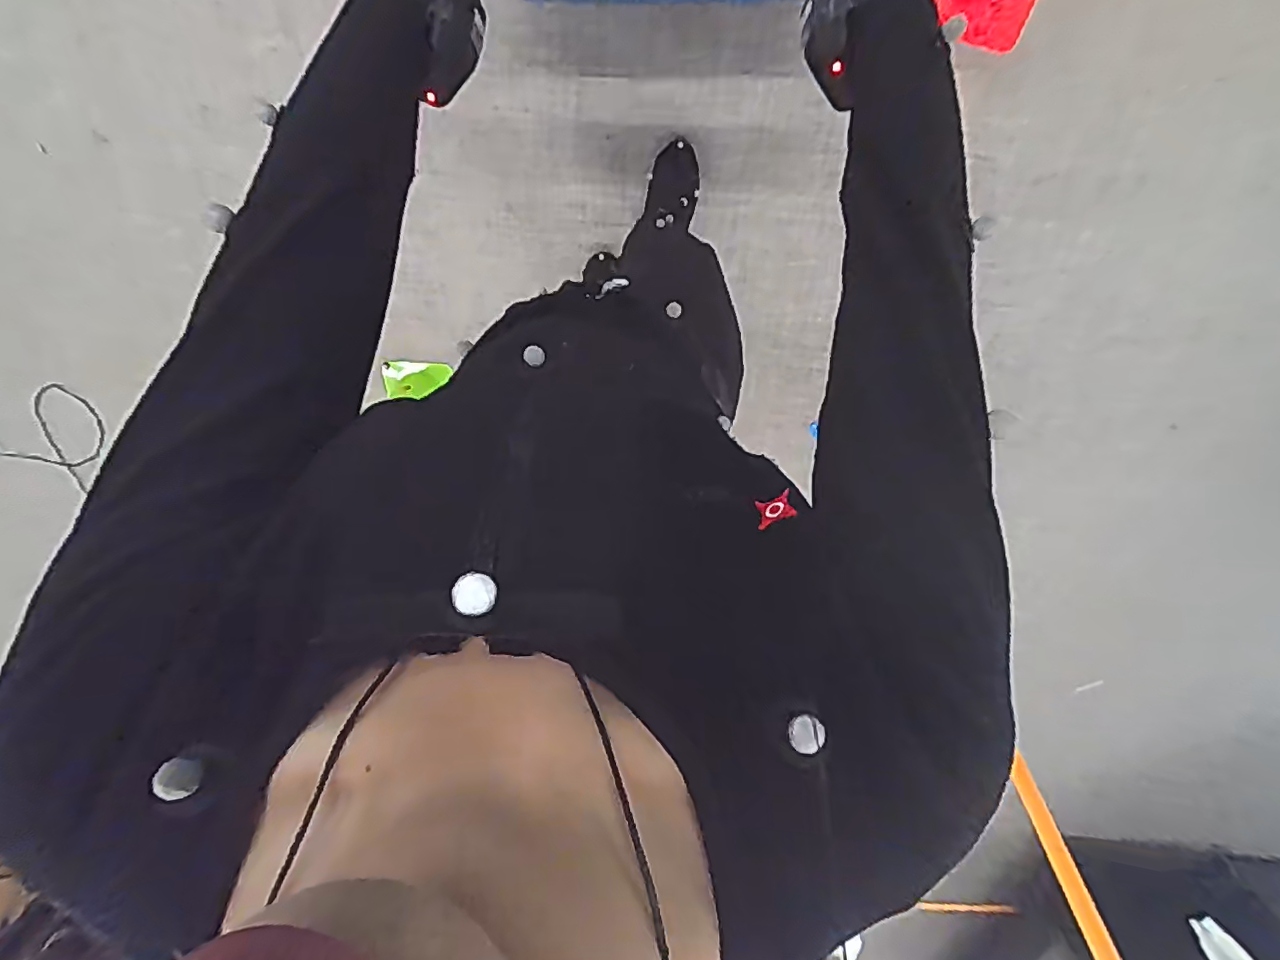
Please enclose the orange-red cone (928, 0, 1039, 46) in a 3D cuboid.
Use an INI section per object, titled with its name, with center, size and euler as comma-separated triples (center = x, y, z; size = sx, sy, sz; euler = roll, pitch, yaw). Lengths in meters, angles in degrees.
[orange-red cone]
center = 0.660, -0.869, 0.872
size = 0.198, 0.360, 0.199
euler = 14, 122, -4
